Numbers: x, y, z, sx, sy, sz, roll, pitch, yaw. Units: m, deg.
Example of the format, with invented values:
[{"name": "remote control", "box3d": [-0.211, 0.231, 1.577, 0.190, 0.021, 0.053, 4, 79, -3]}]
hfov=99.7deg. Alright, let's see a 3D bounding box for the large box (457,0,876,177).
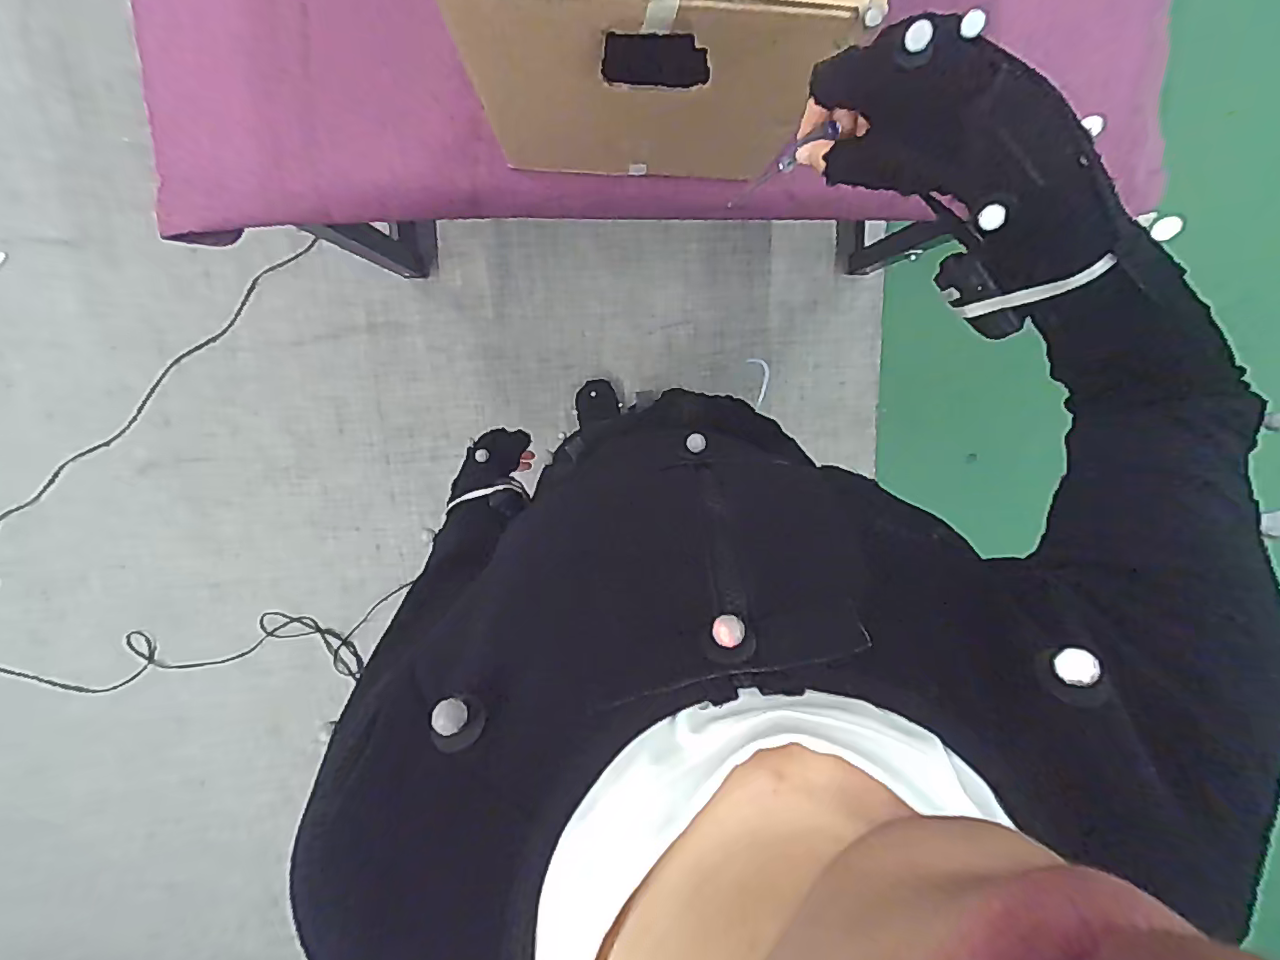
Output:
[{"name": "large box", "box3d": [0.012, -0.555, 0.497, 0.320, 0.320, 0.408, 1, 101, -4]}]
